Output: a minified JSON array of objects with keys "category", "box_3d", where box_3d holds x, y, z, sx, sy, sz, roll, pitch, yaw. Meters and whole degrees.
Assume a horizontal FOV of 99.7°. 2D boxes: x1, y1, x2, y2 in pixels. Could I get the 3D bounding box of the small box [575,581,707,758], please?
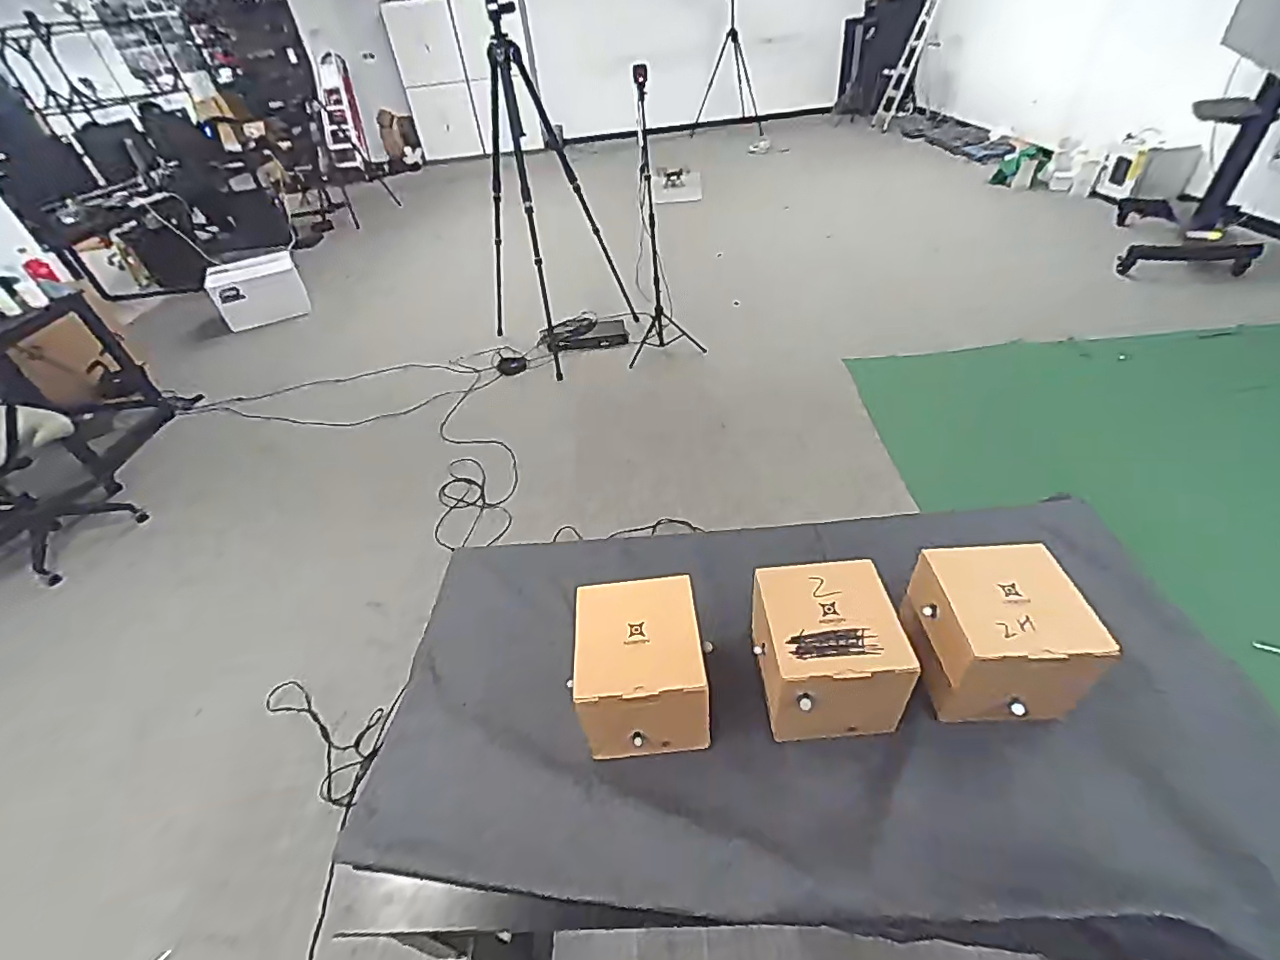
[{"category":"small box","box_3d":[0.004,0.271,0.778,0.168,0.176,0.179,-6,41,1]}]
